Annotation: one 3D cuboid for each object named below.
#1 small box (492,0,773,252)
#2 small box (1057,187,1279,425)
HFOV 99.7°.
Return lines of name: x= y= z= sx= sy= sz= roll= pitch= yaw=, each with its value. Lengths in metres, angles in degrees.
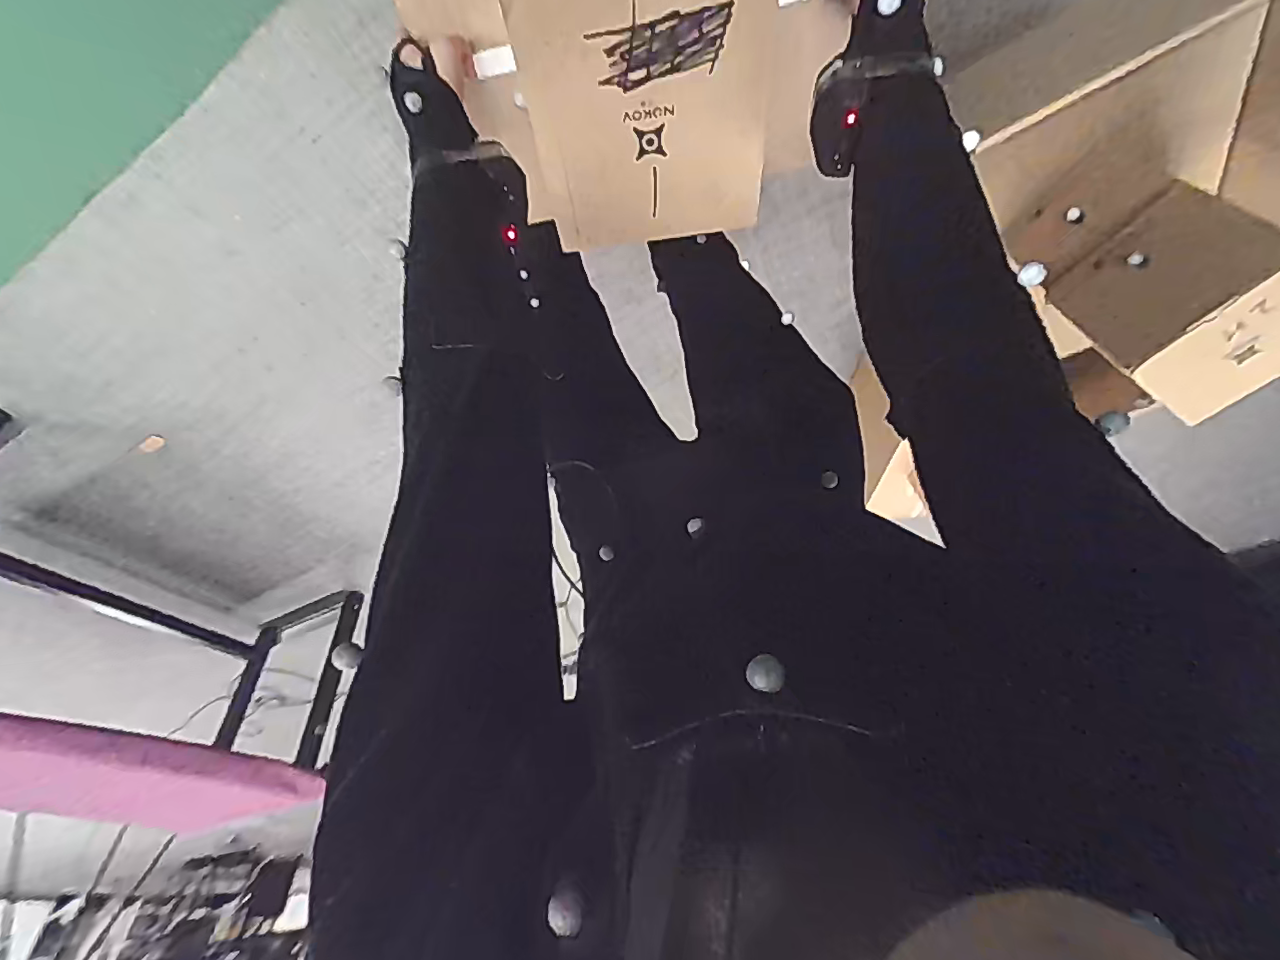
small box: x=-0.003 y=-0.310 z=0.411 sx=0.168 sy=0.176 sz=0.179 roll=-7 pitch=149 yaw=4
small box: x=0.645 y=-0.200 z=0.625 sx=0.179 sy=0.176 sz=0.168 roll=20 pitch=132 yaw=-25
